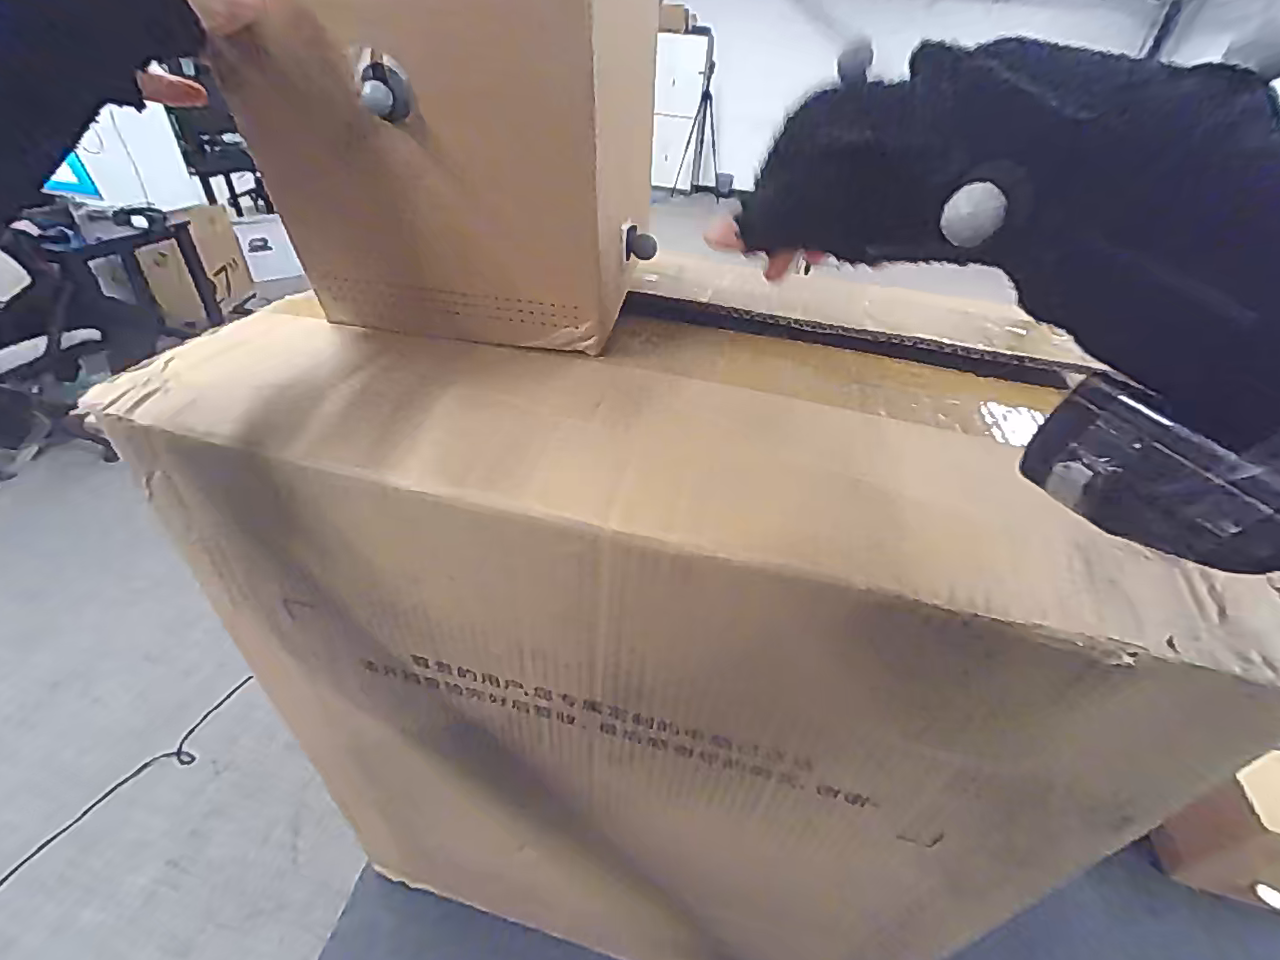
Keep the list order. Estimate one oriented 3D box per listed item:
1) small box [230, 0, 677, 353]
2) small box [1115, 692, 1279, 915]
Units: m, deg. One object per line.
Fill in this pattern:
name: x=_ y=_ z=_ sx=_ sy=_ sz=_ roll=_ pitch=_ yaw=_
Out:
small box: x=-0.080 y=-0.196 z=0.323 sx=0.179 sy=0.176 sz=0.168 roll=10 pitch=50 yaw=4
small box: x=0.778 y=0.417 z=0.701 sx=0.168 sy=0.176 sz=0.179 roll=13 pitch=39 yaw=10
